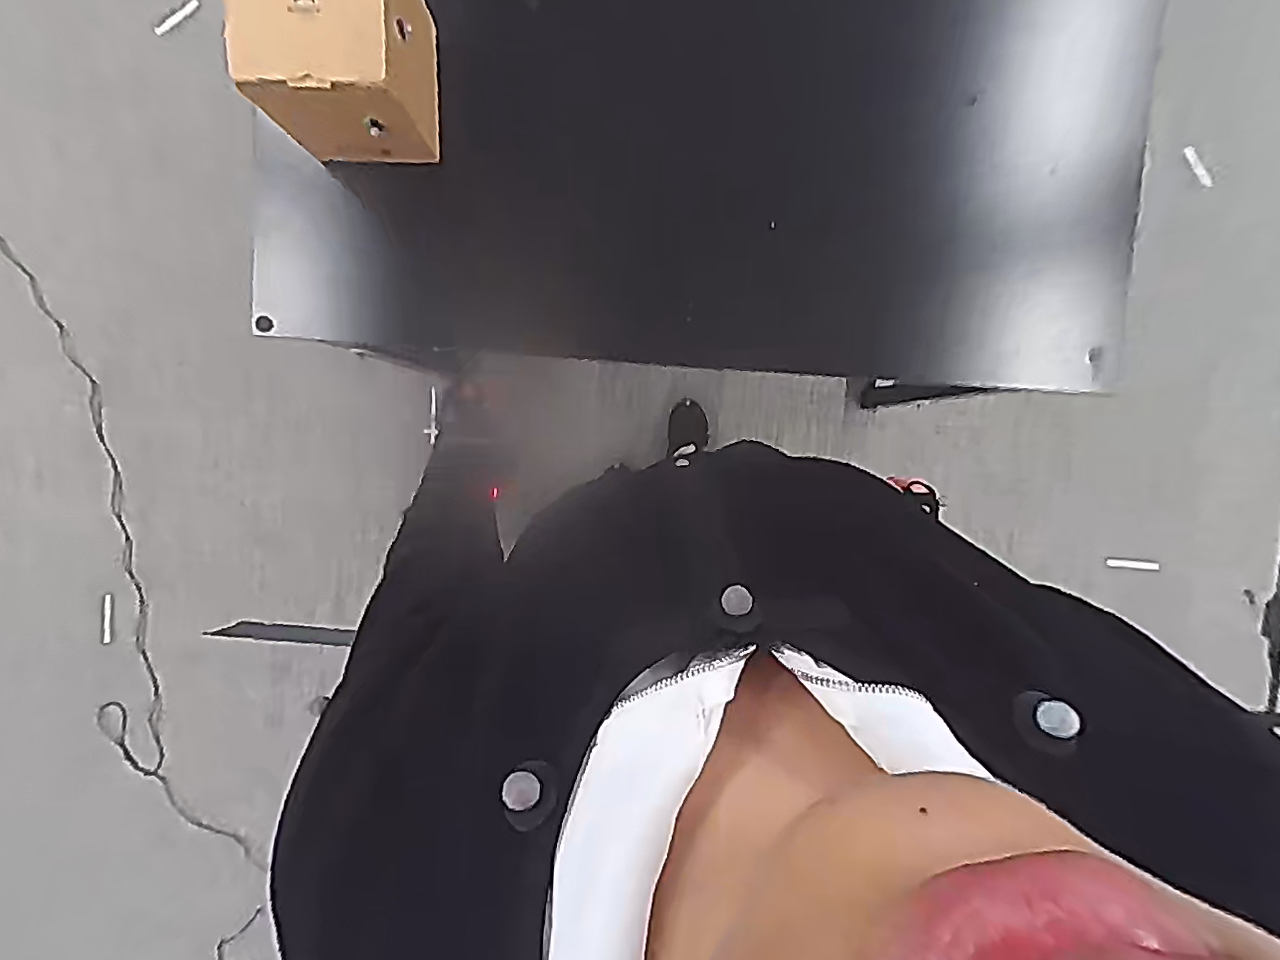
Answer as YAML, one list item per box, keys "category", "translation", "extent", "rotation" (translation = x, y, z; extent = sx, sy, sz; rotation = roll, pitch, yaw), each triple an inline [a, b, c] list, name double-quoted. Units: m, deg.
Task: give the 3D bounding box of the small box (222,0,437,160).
- category: "small box"
  translation: [-0.347, -0.504, 0.634]
  extent: [0.168, 0.176, 0.179]
  rotation: [0, 94, -2]
